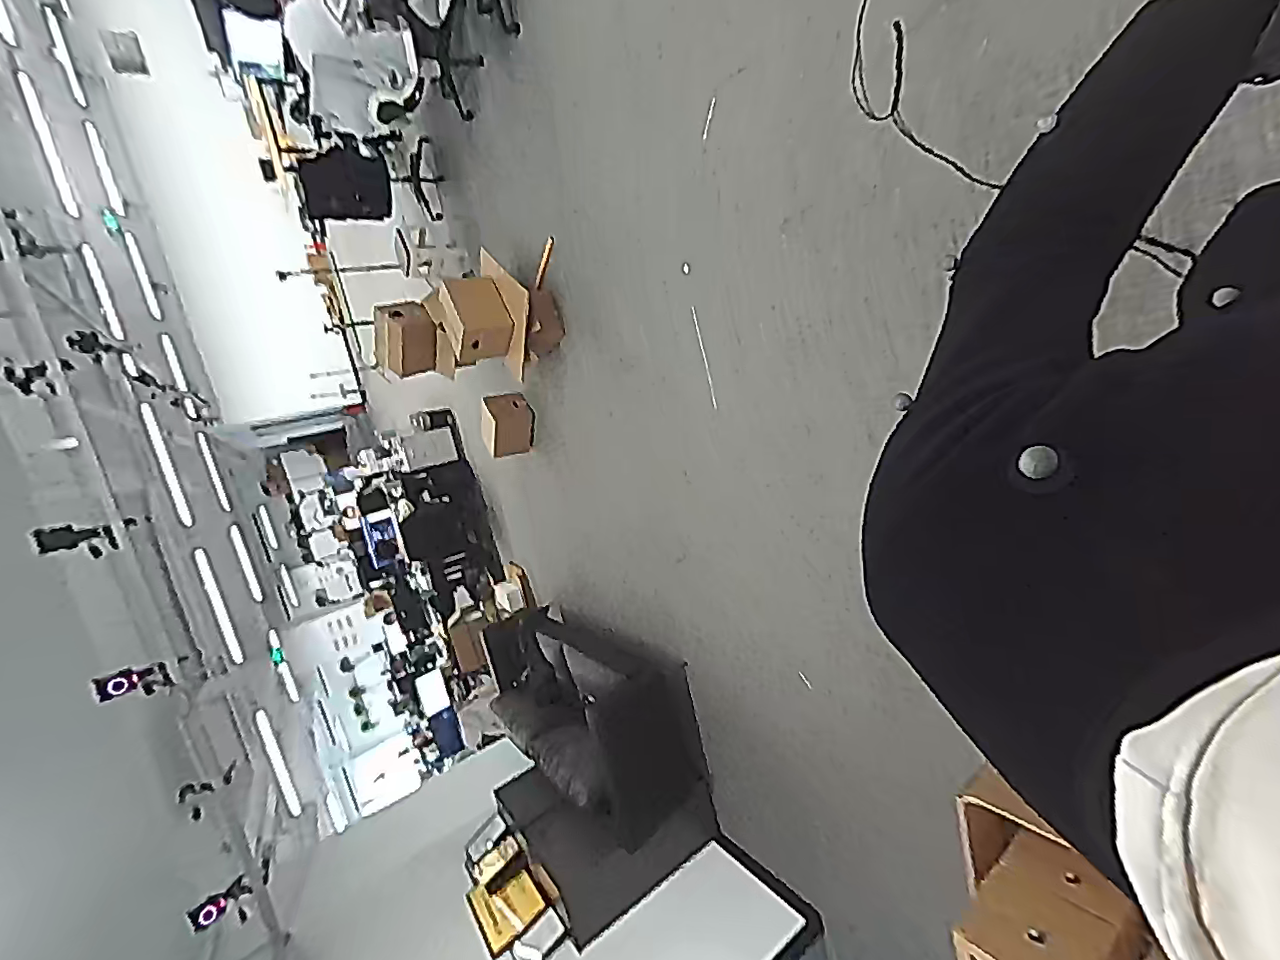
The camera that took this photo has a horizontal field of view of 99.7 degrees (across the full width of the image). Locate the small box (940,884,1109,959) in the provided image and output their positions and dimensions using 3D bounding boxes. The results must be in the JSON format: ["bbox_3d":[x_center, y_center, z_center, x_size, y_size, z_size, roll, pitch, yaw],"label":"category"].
[{"bbox_3d":[0.624,0.810,0.875,0.179,0.176,0.168,1,108,56],"label":"small box"}]

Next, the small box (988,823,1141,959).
[{"bbox_3d":[0.756,0.762,0.960,0.179,0.176,0.168,4,109,56],"label":"small box"}]
